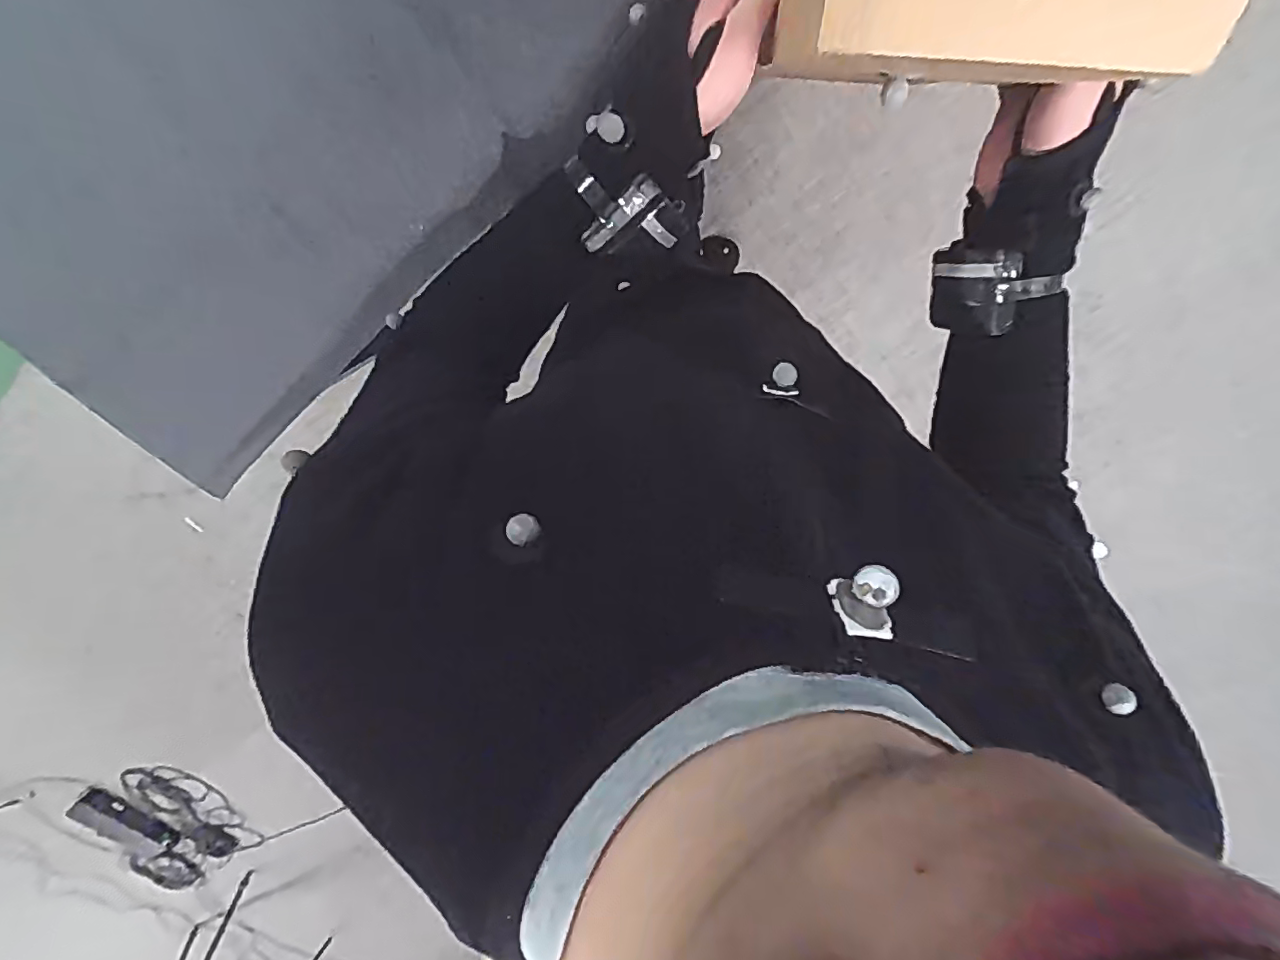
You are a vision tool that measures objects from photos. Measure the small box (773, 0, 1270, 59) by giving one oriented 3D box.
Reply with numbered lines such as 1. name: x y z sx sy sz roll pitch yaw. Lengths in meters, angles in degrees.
1. small box: 0.159 -0.292 0.220 0.168 0.176 0.179 4 126 -1

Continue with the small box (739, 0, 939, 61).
1. small box: 0.163 -0.391 0.352 0.168 0.176 0.179 4 124 0
